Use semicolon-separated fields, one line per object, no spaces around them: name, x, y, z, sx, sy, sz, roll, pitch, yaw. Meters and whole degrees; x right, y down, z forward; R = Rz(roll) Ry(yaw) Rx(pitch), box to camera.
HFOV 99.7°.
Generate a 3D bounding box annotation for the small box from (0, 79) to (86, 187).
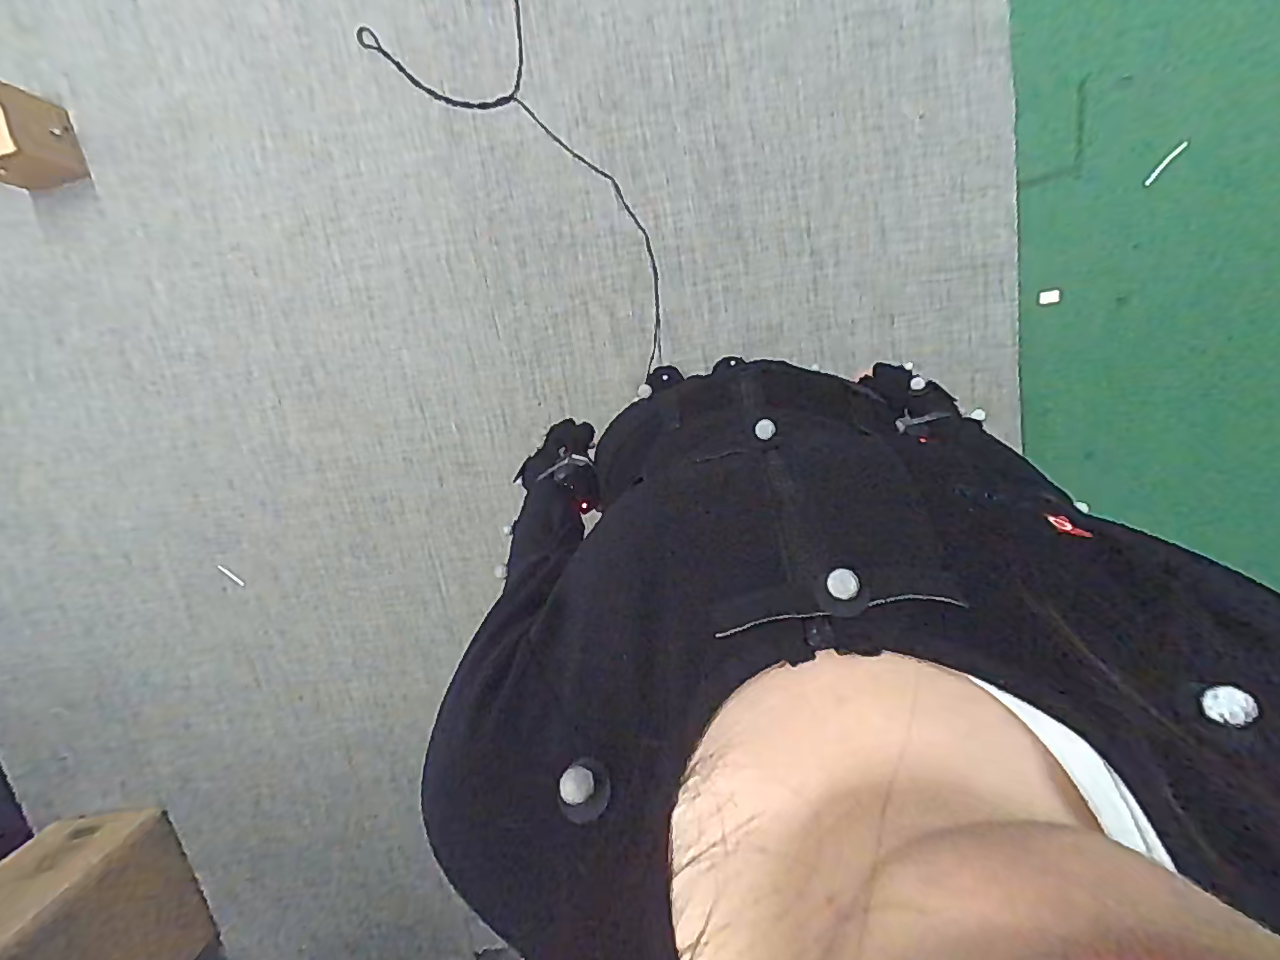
small box;-1.522;-0.832;1.305;0.179;0.176;0.168;-11;102;5
